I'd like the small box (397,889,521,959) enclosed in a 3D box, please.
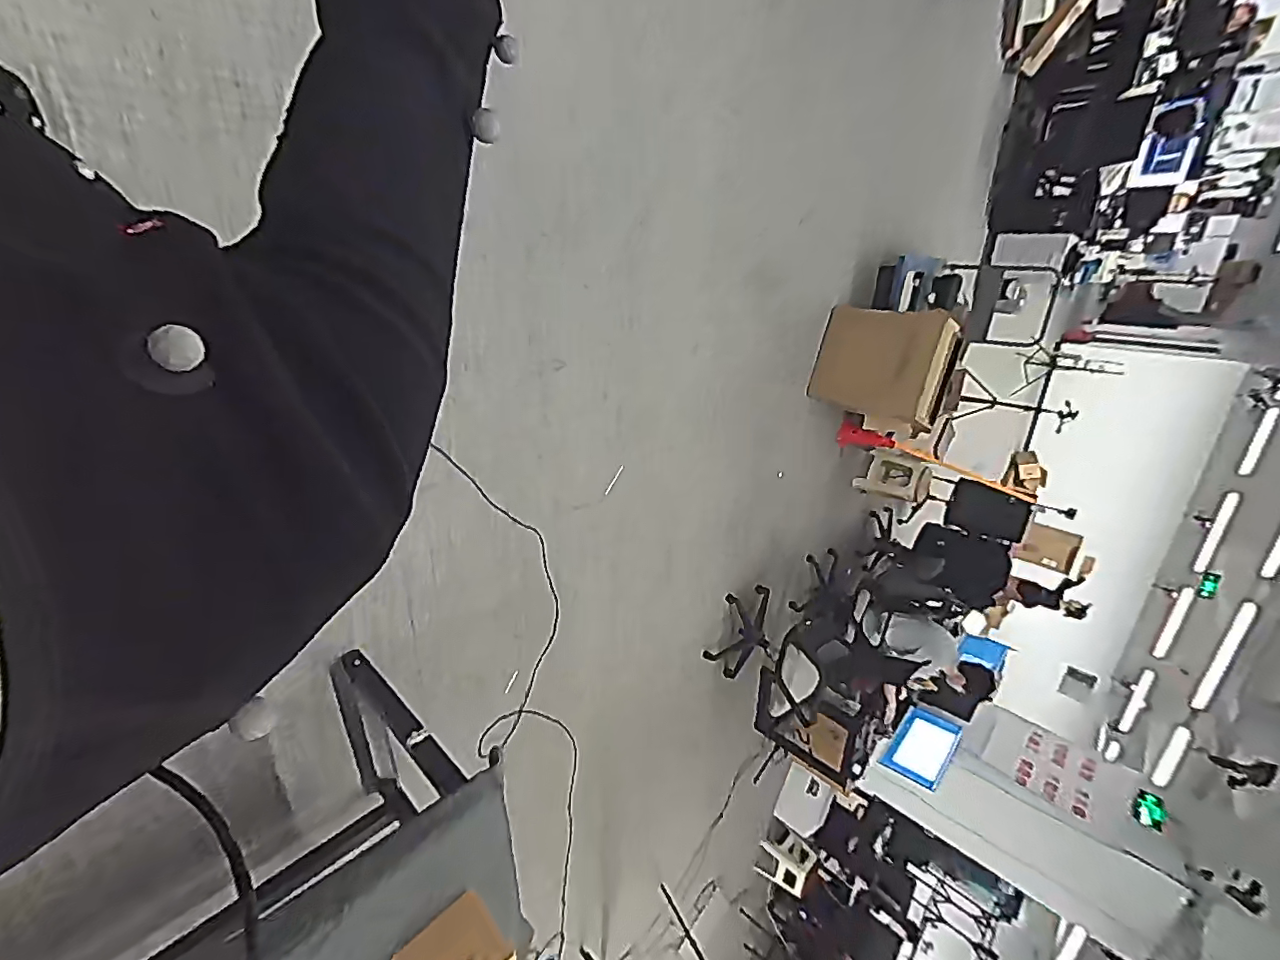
[{"bbox_3d":[-0.353,0.980,1.077,0.179,0.176,0.168,-24,123,-39],"label":"small box"}]
